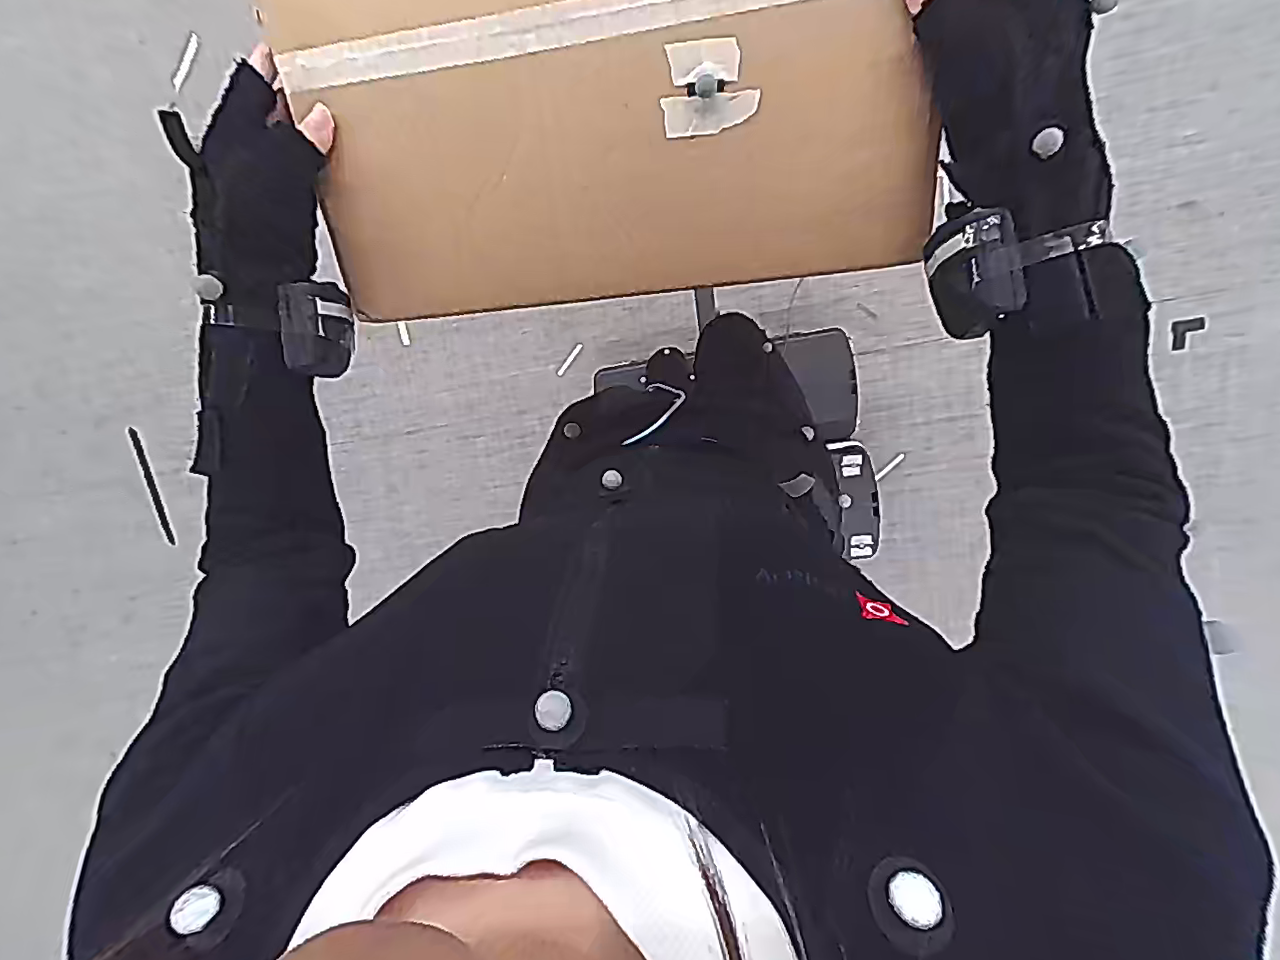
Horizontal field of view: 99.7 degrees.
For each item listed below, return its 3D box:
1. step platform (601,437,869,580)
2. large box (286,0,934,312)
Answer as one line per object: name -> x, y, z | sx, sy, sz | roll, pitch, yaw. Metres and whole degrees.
step platform -> 0.240, 0.080, 1.439 | 0.684, 0.204, 0.286 | -8, 100, 11
large box -> -0.014, -0.343, 0.469 | 0.408, 0.320, 0.320 | -4, 114, 8
